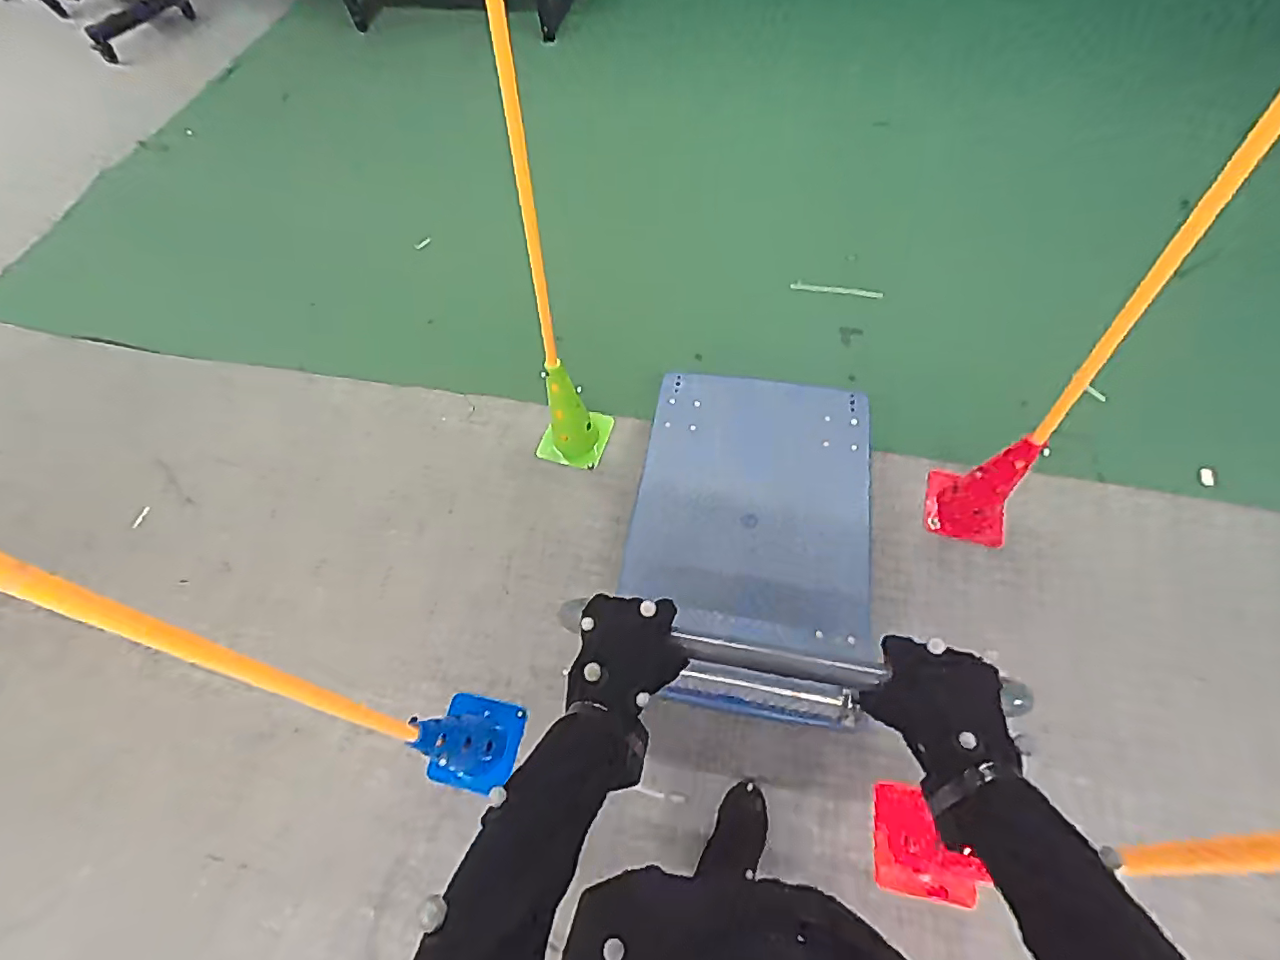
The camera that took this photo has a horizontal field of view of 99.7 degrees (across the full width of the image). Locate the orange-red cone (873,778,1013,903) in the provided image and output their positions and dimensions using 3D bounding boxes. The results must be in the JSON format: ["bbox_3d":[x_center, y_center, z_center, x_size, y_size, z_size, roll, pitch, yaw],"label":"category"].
[{"bbox_3d":[0.586,0.685,1.010,0.199,0.360,0.198,8,63,11],"label":"orange-red cone"}]

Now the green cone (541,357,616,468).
[{"bbox_3d":[-0.206,-0.220,1.551,0.202,0.368,0.200,13,63,12],"label":"green cone"}]
